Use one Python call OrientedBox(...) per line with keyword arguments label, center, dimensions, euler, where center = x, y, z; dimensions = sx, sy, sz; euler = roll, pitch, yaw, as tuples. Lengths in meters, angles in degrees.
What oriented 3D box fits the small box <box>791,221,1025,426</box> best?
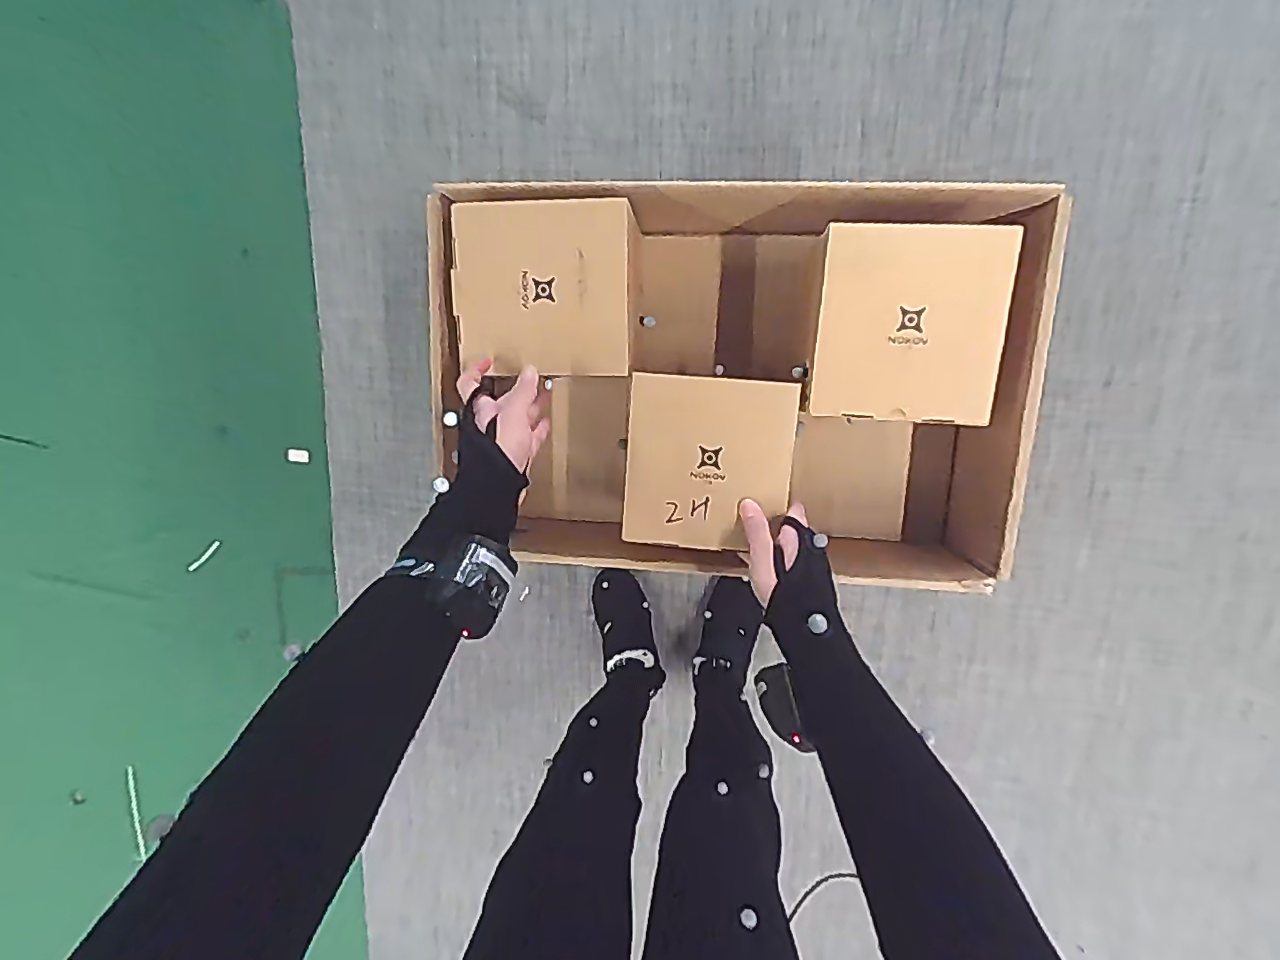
OrientedBox(label="small box", center=(0.261, -0.155, 0.571), dimensions=(0.168, 0.176, 0.179), euler=(4, 101, 7))
